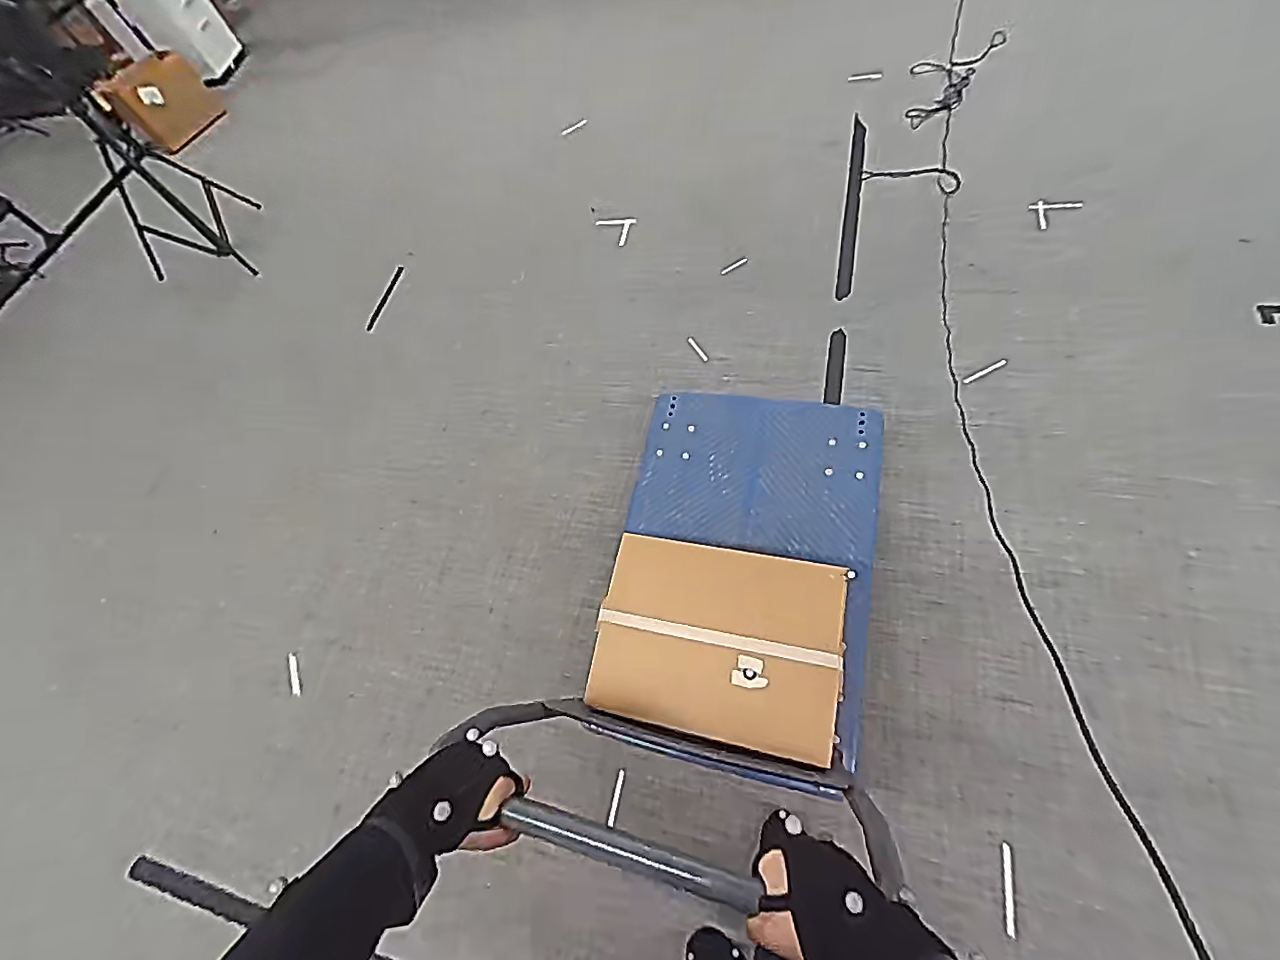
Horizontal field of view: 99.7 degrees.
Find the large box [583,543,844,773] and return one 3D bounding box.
[{"bbox_3d":[0.150,0.336,1.036,0.408,0.320,0.320,7,69,16],"label":"large box"}]
